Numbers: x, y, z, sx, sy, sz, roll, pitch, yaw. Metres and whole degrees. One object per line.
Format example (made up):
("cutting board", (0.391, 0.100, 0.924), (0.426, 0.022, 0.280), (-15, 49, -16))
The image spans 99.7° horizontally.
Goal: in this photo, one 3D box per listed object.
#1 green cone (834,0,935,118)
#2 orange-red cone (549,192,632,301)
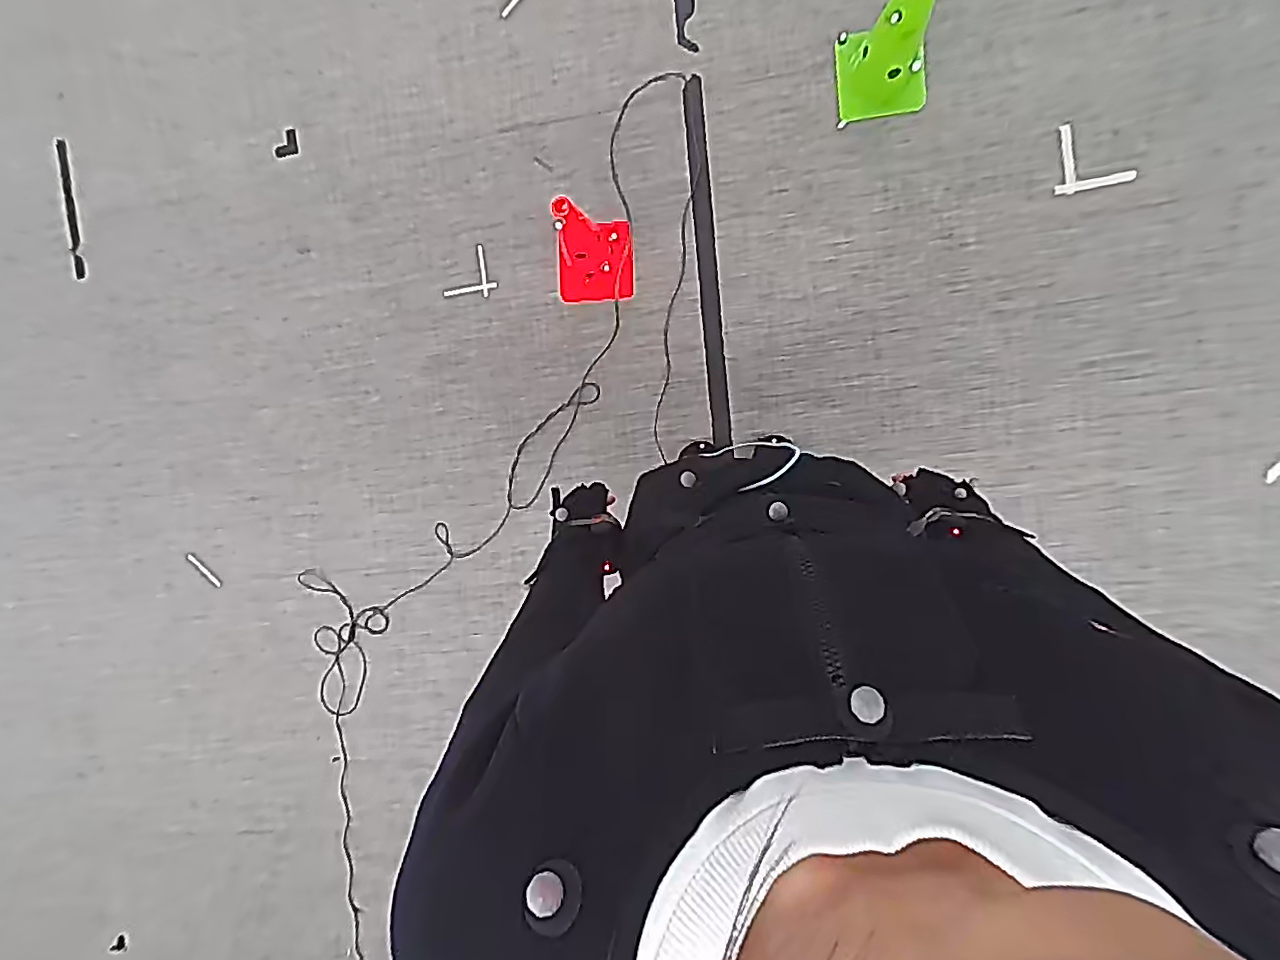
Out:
("green cone", (0.555, -0.965, 1.123), (0.202, 0.368, 0.200), (-5, 94, 6))
("orange-red cone", (-0.142, -0.562, 1.247), (0.199, 0.360, 0.198), (-1, 93, 8))
